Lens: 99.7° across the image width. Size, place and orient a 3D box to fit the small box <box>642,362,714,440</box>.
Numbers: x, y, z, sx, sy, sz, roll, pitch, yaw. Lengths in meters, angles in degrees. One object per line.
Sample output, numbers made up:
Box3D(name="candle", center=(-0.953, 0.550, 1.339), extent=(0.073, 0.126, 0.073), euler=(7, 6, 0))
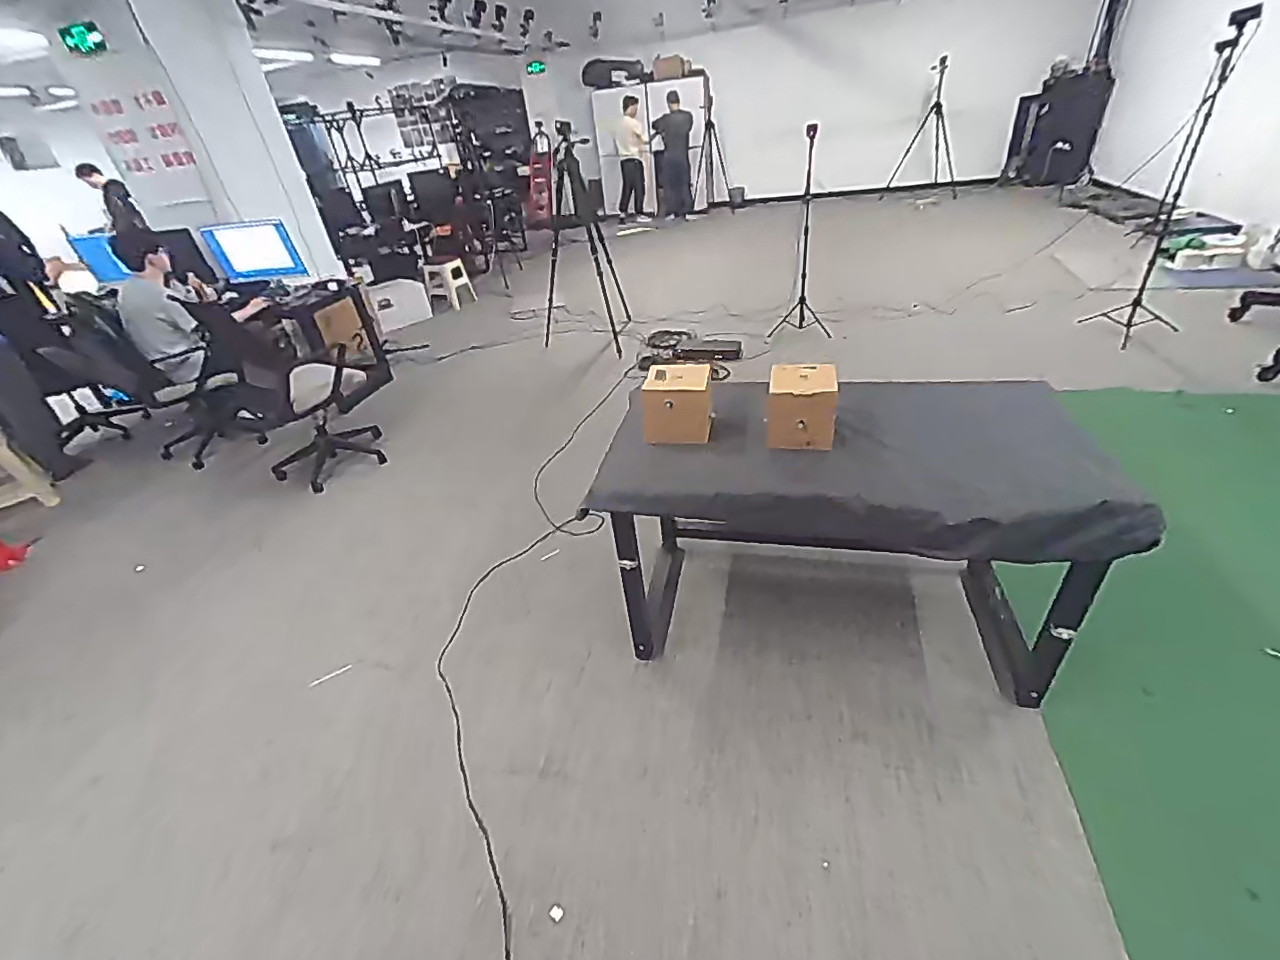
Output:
Box3D(name="small box", center=(0.113, -0.223, 1.525), extent=(0.179, 0.176, 0.168), euler=(2, 36, 12))

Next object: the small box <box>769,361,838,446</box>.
Box3D(name="small box", center=(0.432, -0.202, 1.437), extent=(0.168, 0.176, 0.179), euler=(3, 36, 15))
